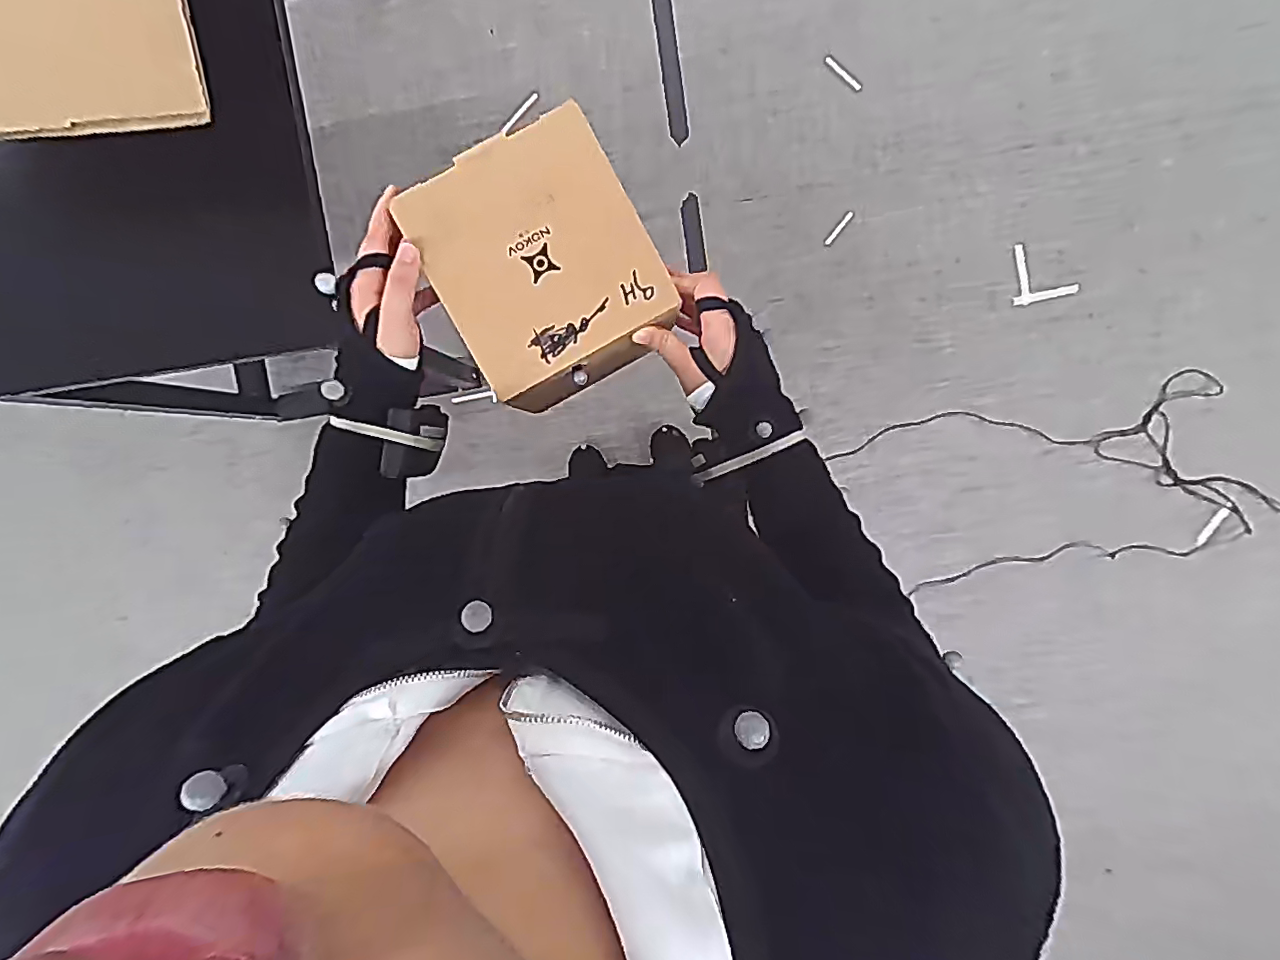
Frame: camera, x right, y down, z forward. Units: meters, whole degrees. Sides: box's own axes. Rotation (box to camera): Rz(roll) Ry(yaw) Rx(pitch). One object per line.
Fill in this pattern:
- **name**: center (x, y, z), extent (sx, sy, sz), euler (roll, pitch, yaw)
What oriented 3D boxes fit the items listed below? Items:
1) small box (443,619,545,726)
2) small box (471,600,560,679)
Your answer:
- **small box**: center (-0.334, 0.448, 1.283), extent (0.179, 0.176, 0.168), euler (-16, 92, 3)
- **small box**: center (-0.326, 0.435, 1.445), extent (0.179, 0.176, 0.168), euler (-13, 94, 1)
